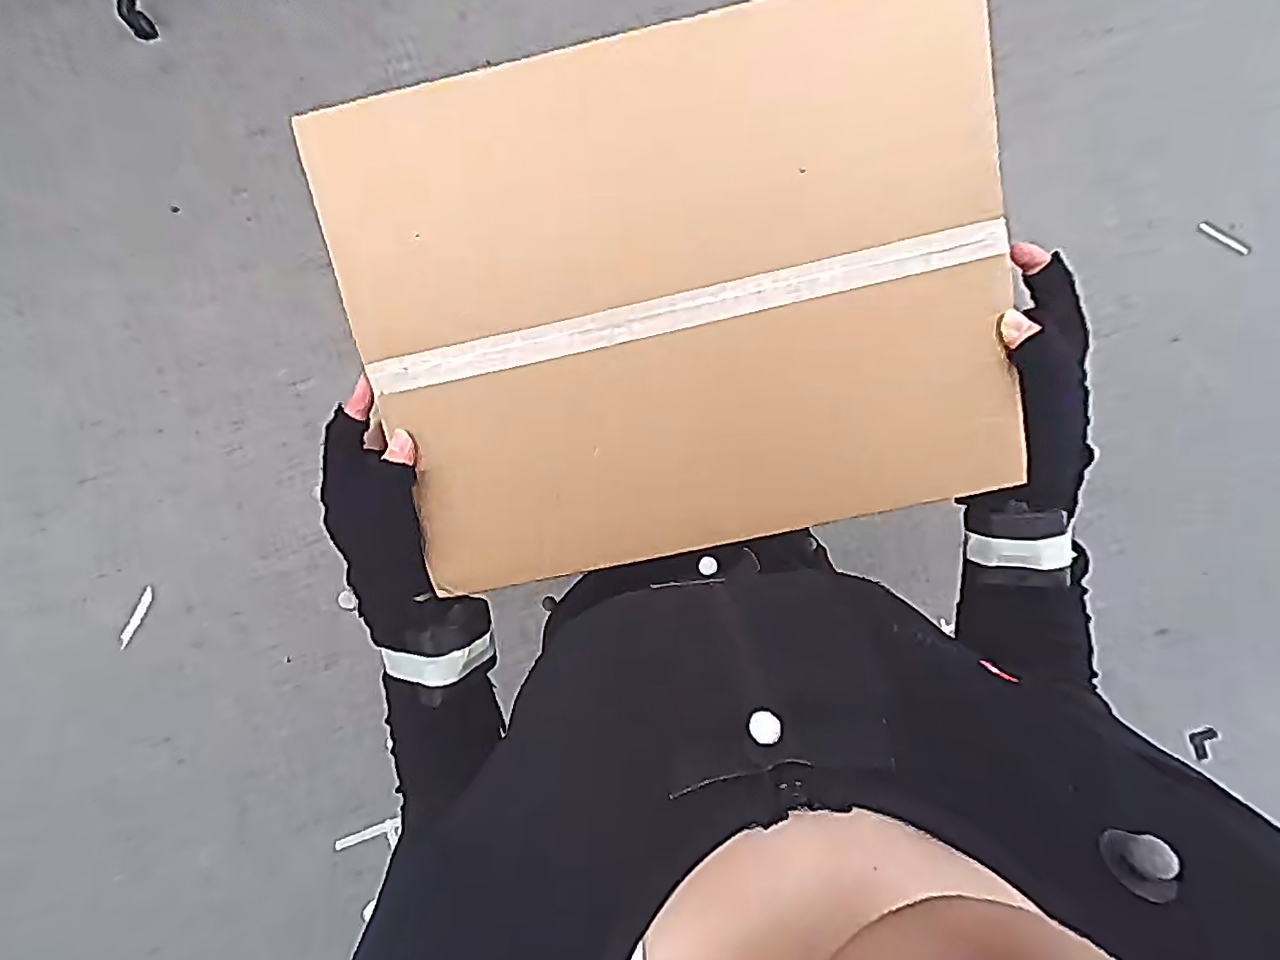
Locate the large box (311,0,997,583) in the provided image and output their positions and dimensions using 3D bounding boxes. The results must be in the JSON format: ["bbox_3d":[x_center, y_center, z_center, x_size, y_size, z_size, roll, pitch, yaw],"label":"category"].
[{"bbox_3d":[0.023,-0.144,0.496,0.408,0.320,0.320,-12,101,3],"label":"large box"}]
